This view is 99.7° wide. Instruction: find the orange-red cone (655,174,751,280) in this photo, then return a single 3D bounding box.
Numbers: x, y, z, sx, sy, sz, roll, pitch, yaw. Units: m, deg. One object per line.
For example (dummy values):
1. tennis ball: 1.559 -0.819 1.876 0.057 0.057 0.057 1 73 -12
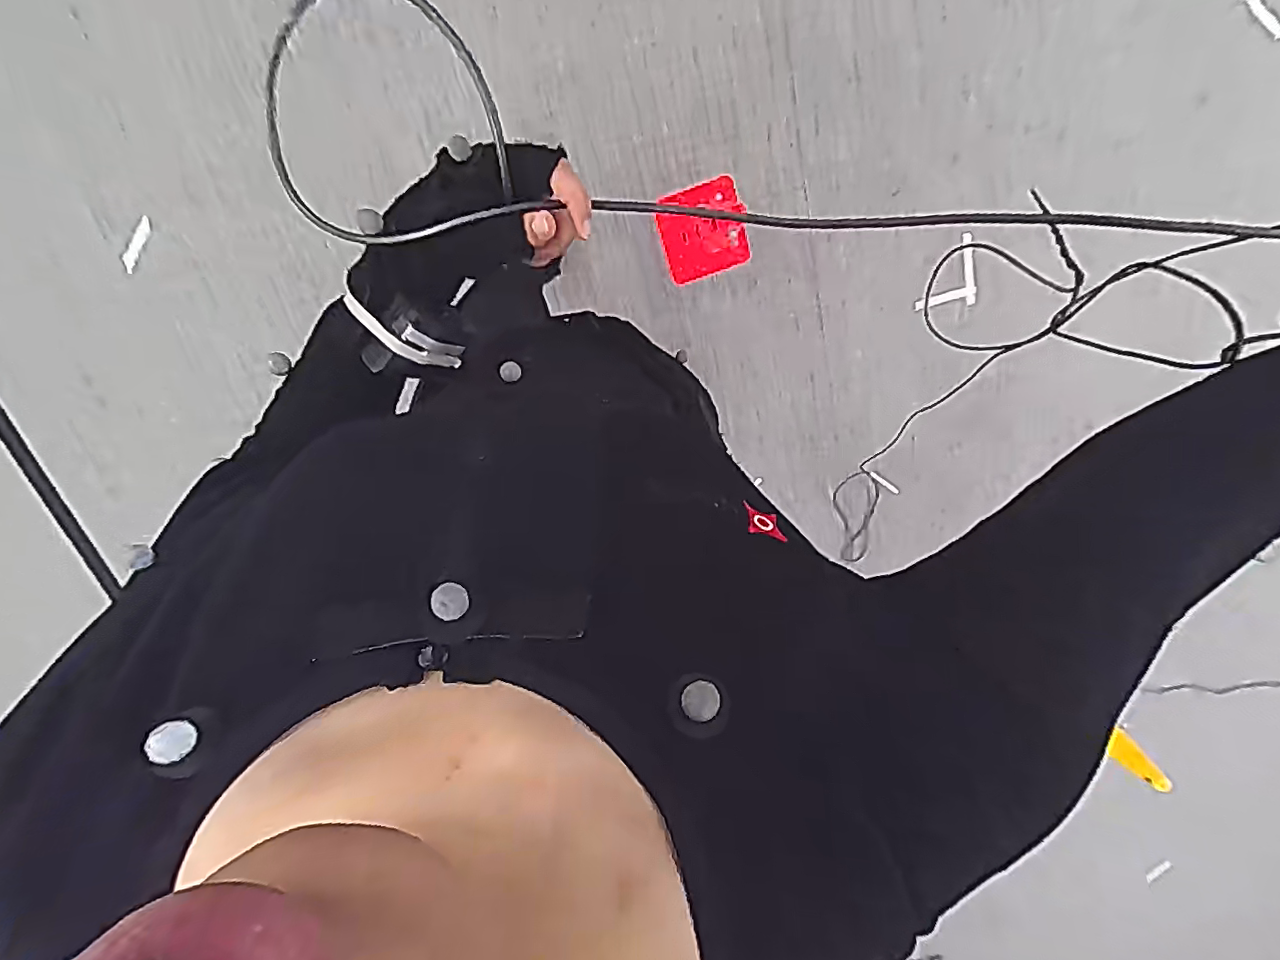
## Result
1. orange-red cone: 0.158 -0.533 1.113 0.199 0.360 0.198 -17 109 4
